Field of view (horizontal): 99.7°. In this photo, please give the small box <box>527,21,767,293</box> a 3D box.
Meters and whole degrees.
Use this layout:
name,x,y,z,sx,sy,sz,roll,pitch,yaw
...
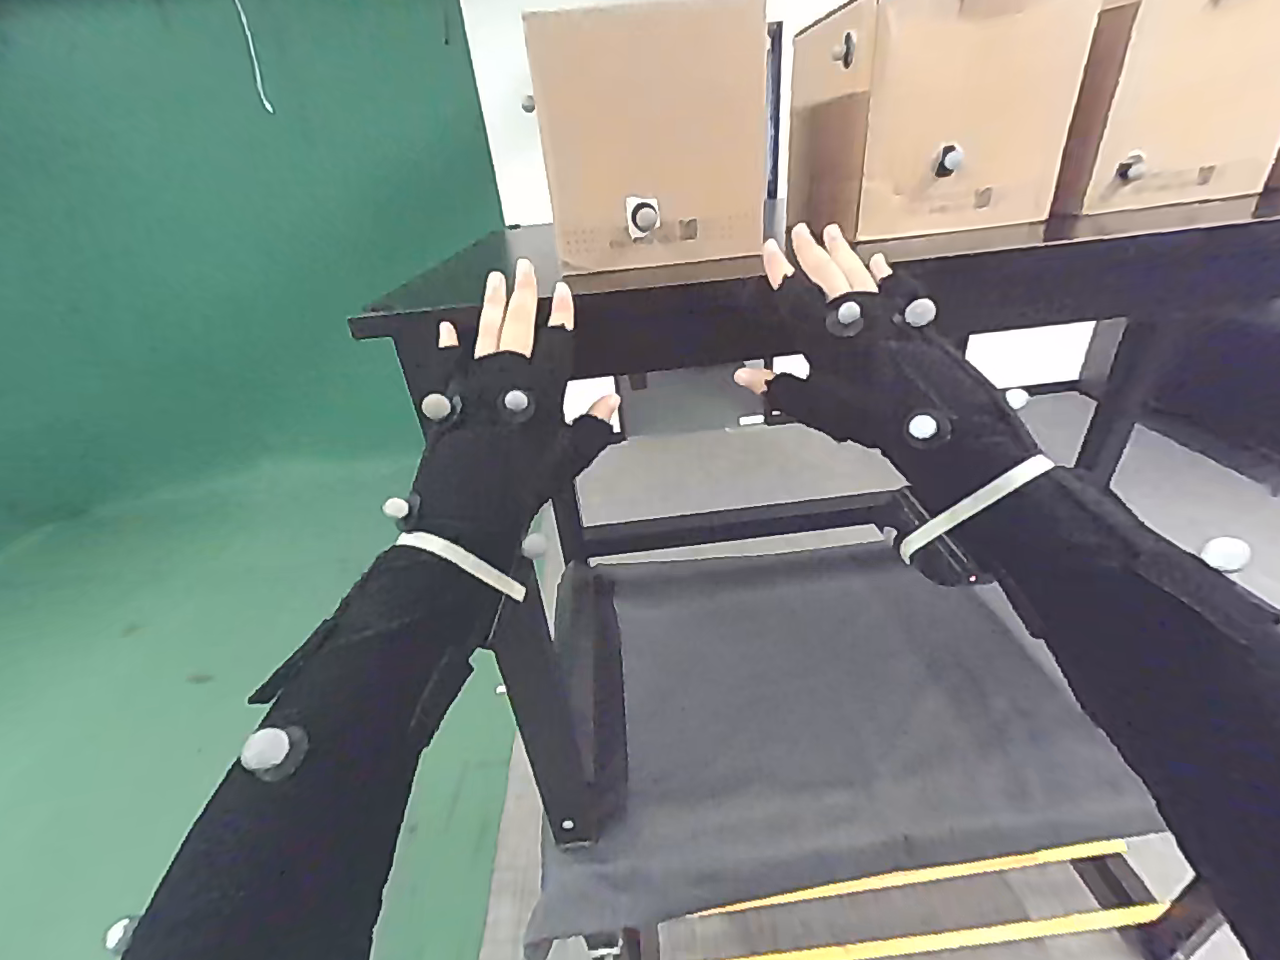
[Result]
name,x,y,z,sx,sy,sz,roll,pitch,yaw
small box,0.004,-0.270,0.474,0.168,0.176,0.179,-9,31,-3
